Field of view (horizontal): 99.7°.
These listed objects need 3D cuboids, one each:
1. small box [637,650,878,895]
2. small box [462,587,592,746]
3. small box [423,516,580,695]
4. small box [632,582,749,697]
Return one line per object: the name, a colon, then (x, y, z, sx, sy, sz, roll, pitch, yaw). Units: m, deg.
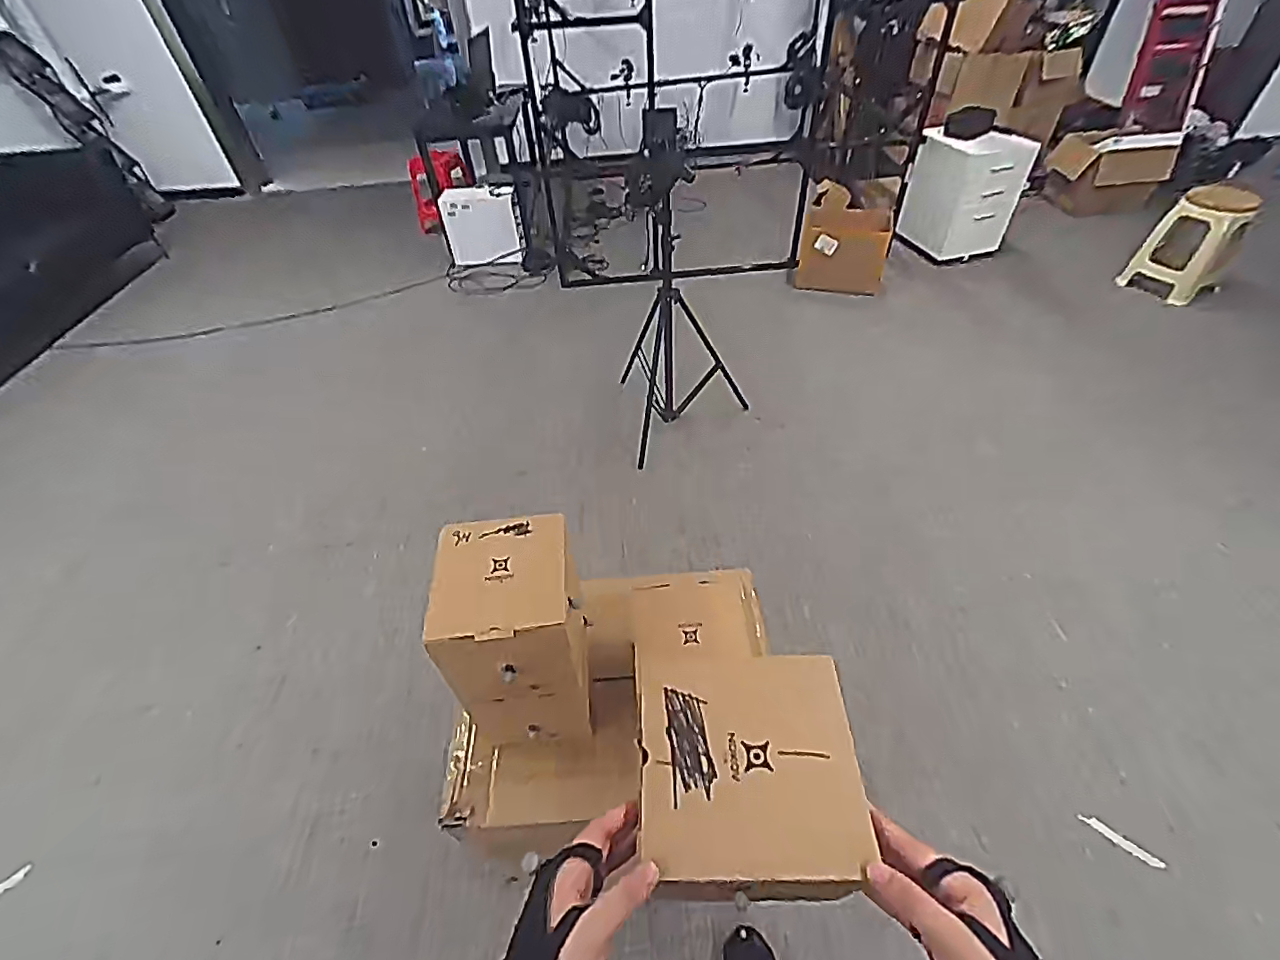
small box: (0.090, 0.273, 0.501, 0.179, 0.176, 0.168, -2, 48, 2)
small box: (-0.165, 0.292, 0.848, 0.168, 0.176, 0.179, -5, 46, -2)
small box: (-0.173, 0.175, 0.733, 0.168, 0.176, 0.179, -6, 46, -3)
small box: (0.078, 0.283, 0.841, 0.168, 0.176, 0.179, -6, 47, 1)
